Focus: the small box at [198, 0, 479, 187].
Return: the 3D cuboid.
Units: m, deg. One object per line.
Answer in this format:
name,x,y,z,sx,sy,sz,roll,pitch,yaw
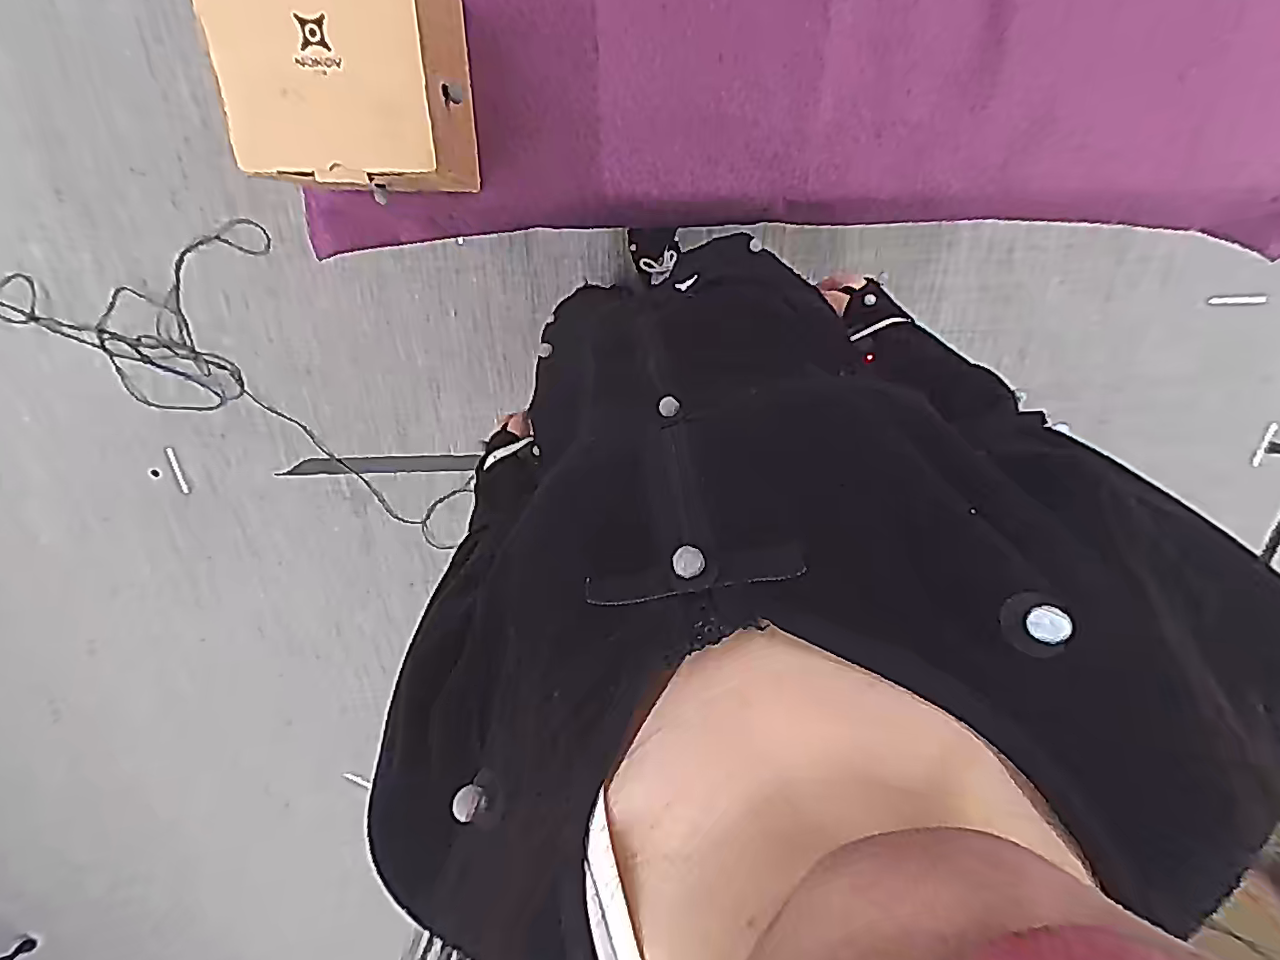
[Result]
small box,-0.254,-0.370,0.493,0.168,0.176,0.179,-1,115,-3
